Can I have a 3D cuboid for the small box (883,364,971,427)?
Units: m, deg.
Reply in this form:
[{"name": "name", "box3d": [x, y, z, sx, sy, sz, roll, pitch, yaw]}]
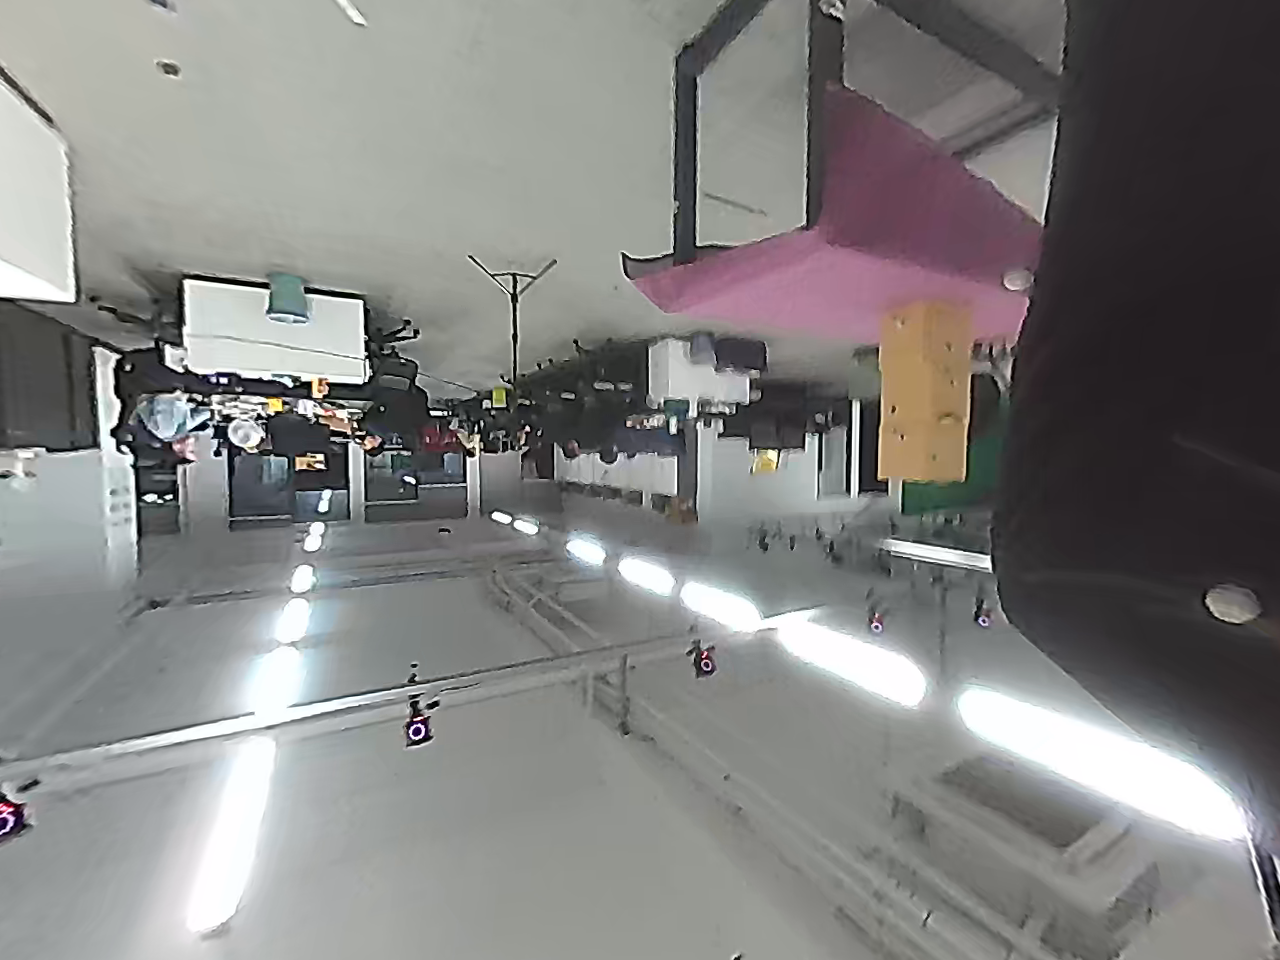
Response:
[{"name": "small box", "box3d": [0.847, -0.244, 1.595, 0.168, 0.176, 0.179, -2, -177, -24]}]
